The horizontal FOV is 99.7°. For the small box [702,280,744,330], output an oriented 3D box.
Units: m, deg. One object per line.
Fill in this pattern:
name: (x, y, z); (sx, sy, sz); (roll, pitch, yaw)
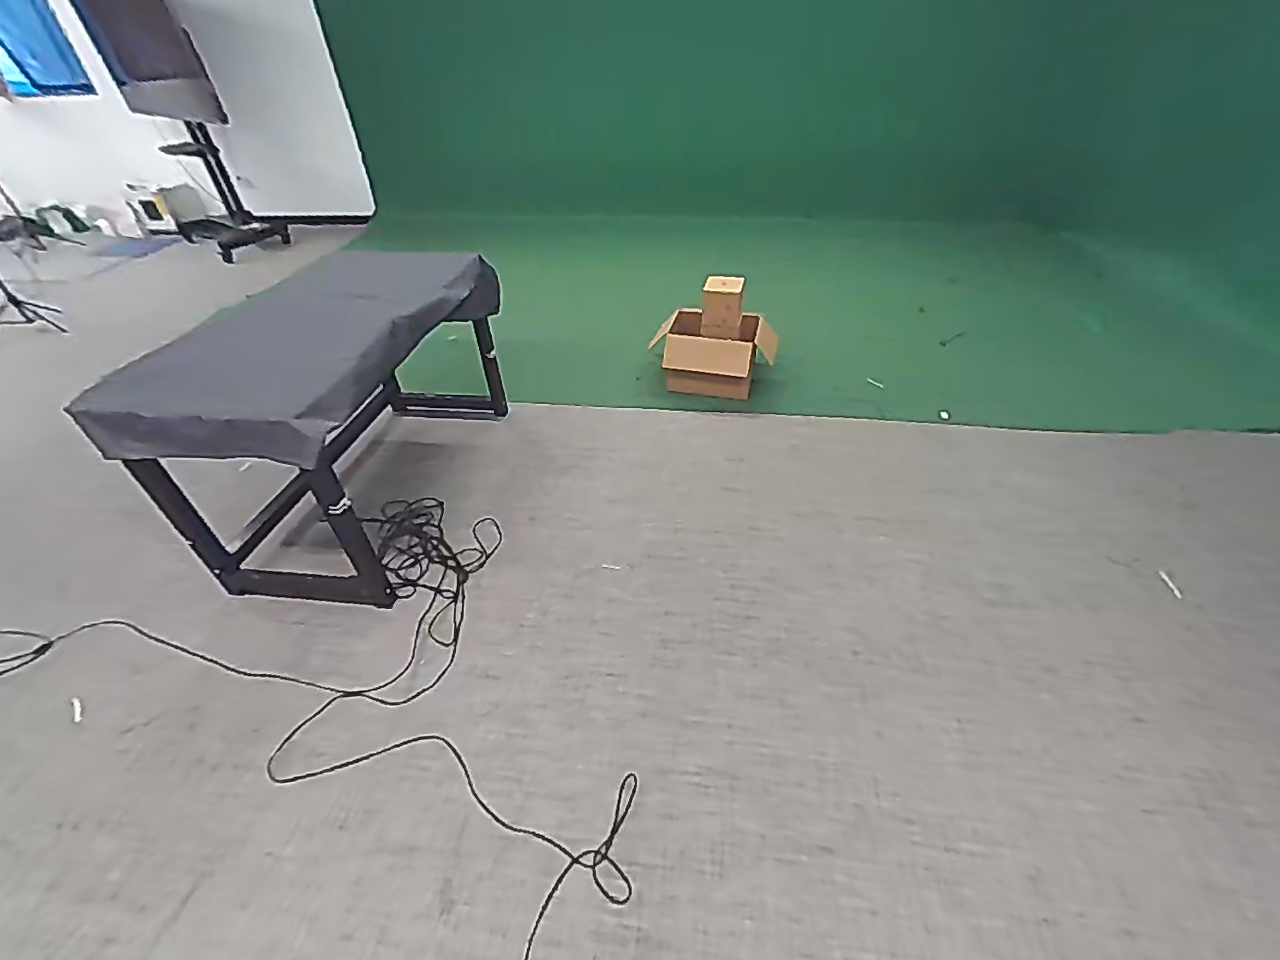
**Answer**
small box: (0.380, -0.799, 2.475); (0.168, 0.176, 0.179); (8, 40, 12)
